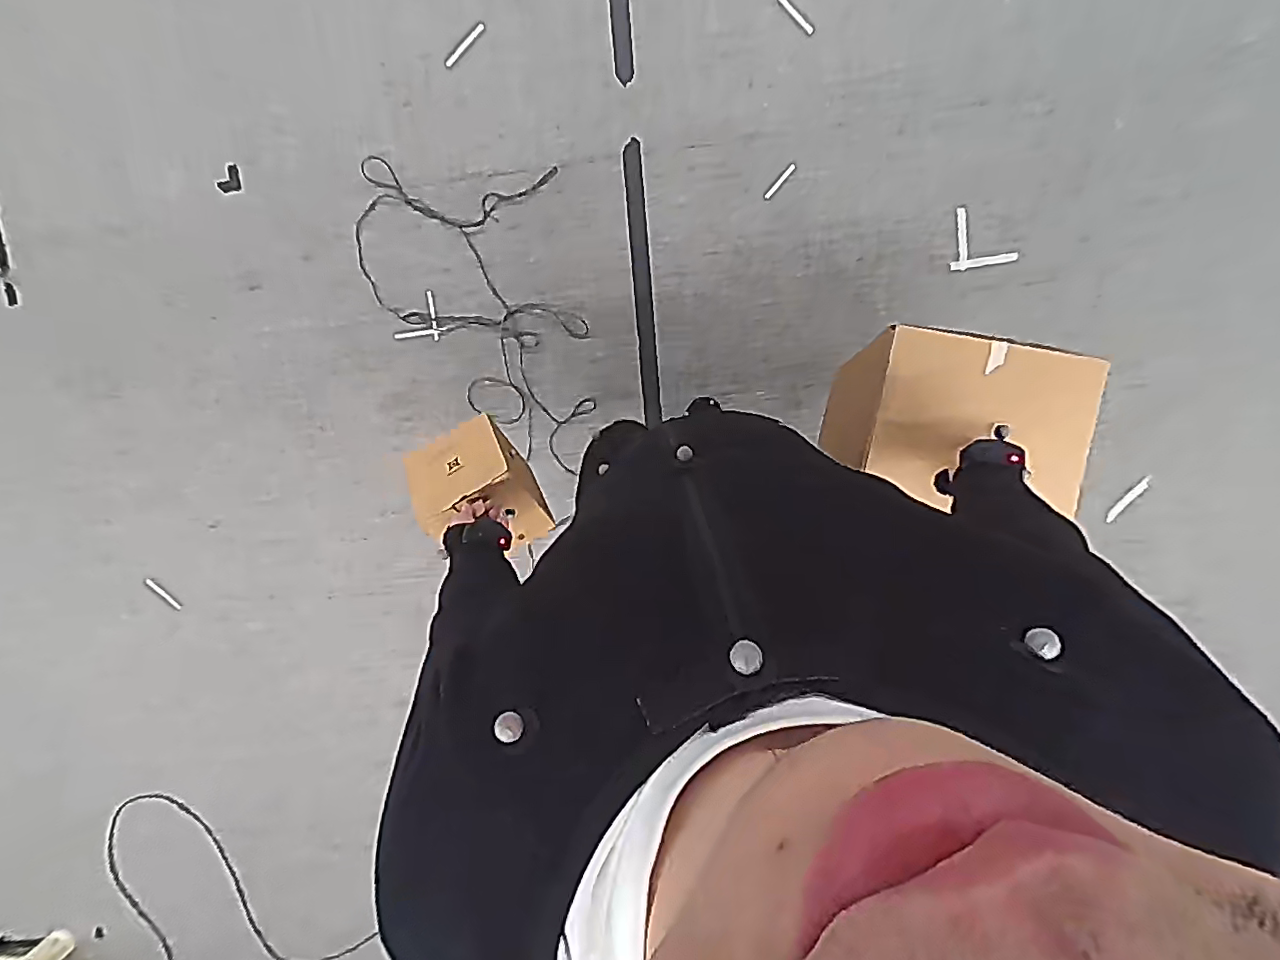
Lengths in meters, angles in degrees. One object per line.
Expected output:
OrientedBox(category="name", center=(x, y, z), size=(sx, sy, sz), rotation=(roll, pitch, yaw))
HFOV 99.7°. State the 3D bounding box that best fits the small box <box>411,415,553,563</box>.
OrientedBox(category="small box", center=(-0.277, 0.025, 0.963), size=(0.168, 0.179, 0.176), rotation=(-32, 137, -3))
